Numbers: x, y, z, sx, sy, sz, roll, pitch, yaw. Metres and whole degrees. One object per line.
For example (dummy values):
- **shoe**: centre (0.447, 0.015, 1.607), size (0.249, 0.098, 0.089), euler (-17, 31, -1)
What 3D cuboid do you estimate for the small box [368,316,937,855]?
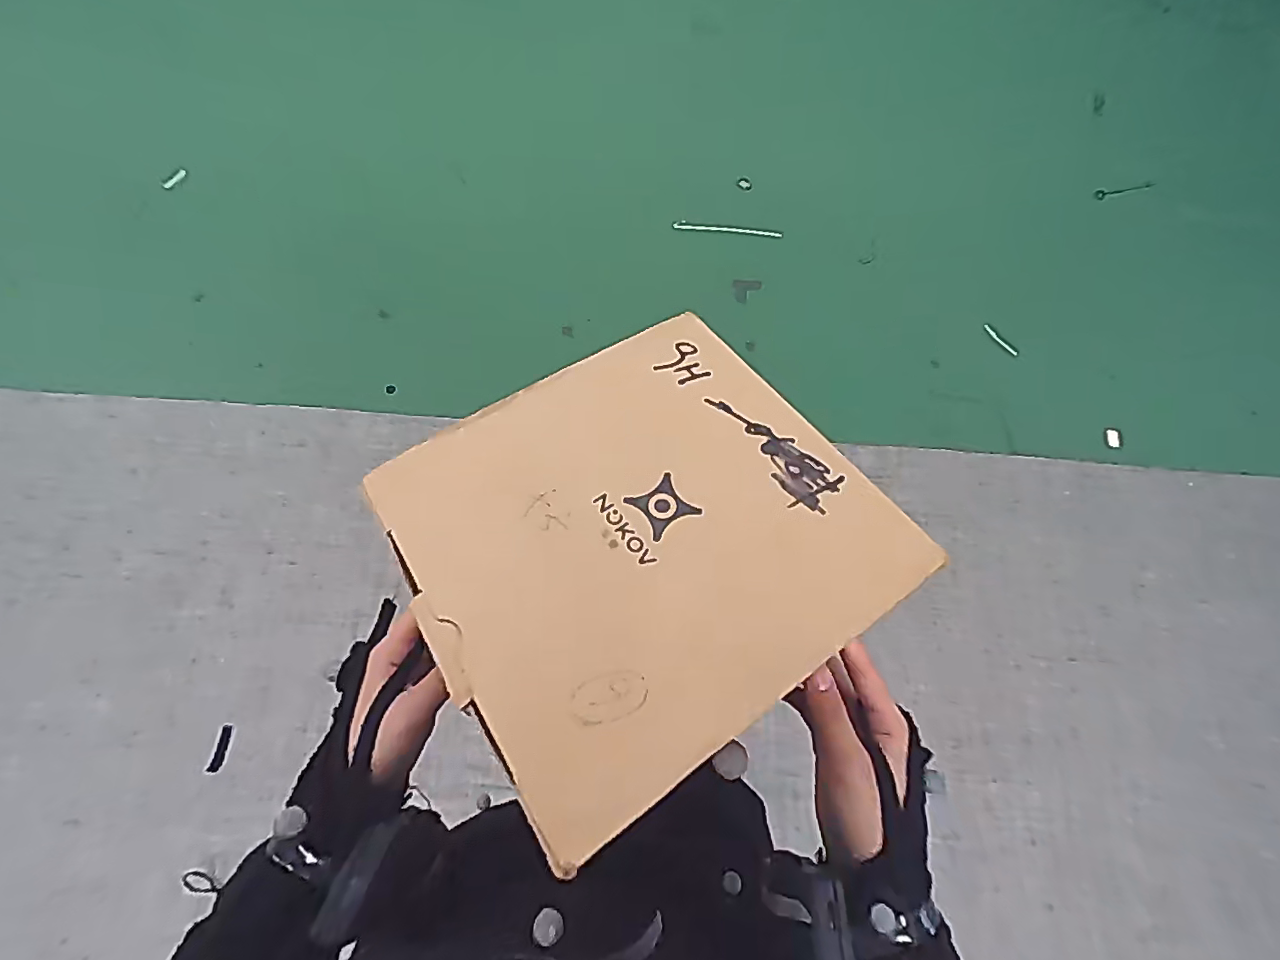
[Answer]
- **small box**: centre (0.001, 0.056, 0.285), size (0.179, 0.176, 0.168), euler (-31, 64, -17)
